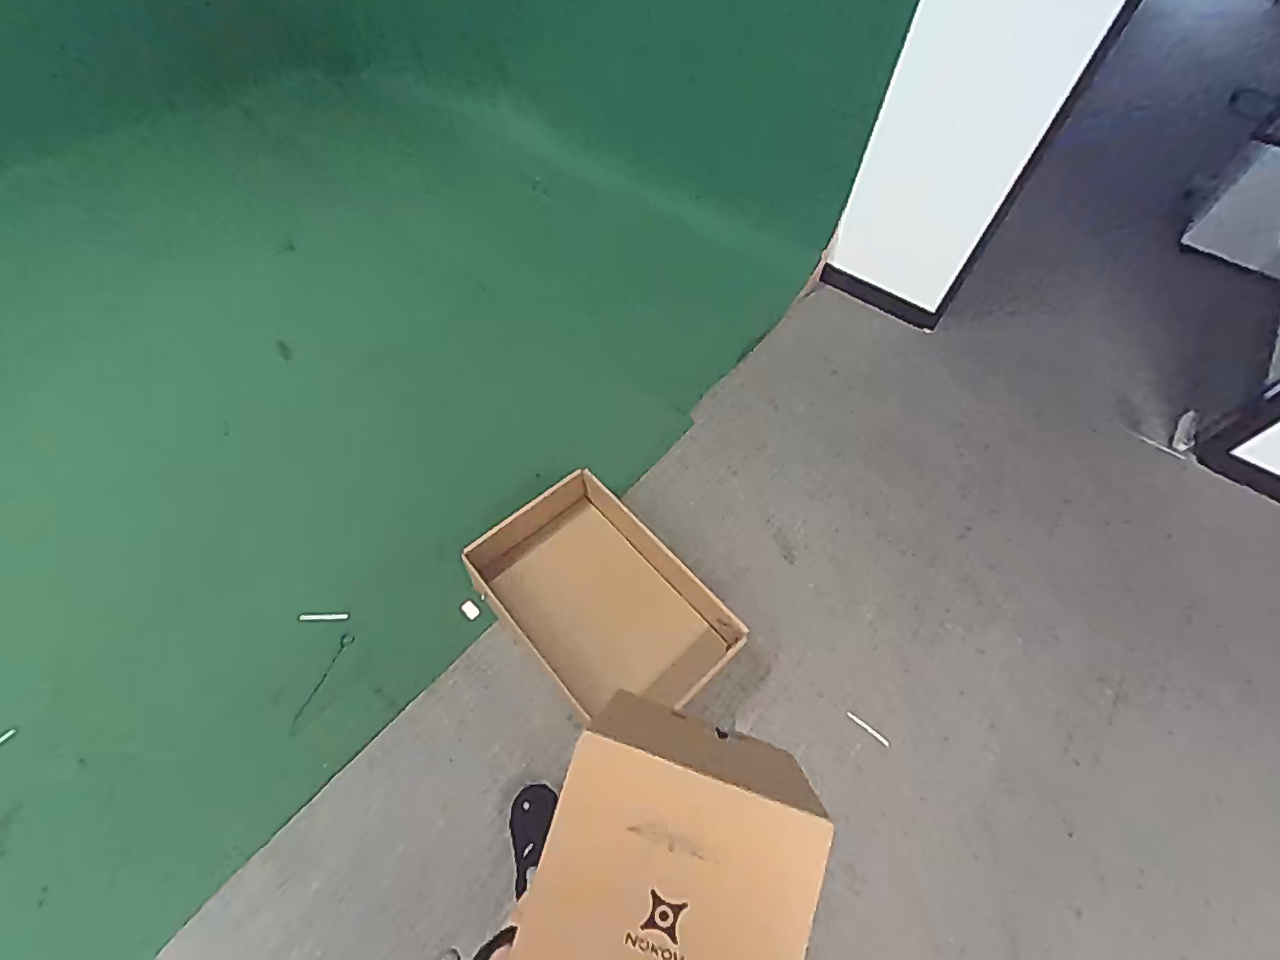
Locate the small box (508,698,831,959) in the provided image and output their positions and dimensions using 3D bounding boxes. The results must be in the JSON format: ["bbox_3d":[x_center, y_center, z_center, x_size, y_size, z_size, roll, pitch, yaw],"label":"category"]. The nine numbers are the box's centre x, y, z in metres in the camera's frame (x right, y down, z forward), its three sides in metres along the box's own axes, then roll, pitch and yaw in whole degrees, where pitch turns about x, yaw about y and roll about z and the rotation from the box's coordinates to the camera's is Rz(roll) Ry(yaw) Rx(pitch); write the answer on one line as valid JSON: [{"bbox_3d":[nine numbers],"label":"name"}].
[{"bbox_3d":[0.022,0.286,0.402,0.168,0.176,0.179,17,79,9],"label":"small box"}]
